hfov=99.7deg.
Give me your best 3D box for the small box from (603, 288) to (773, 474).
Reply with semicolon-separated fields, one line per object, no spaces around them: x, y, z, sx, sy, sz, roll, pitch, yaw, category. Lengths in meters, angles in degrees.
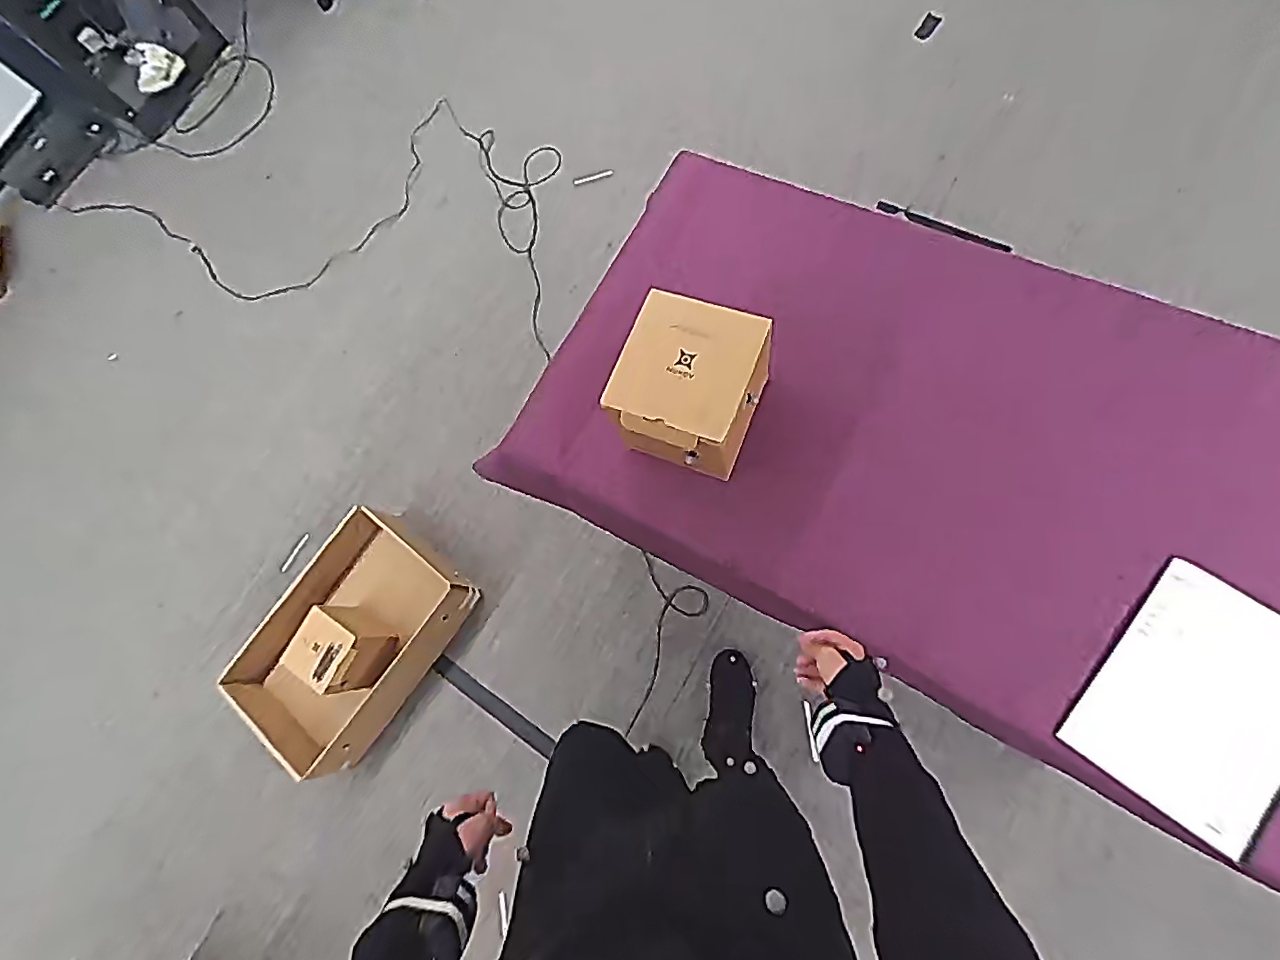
0.074;-0.125;0.743;0.168;0.176;0.179;21;80;15;small box
